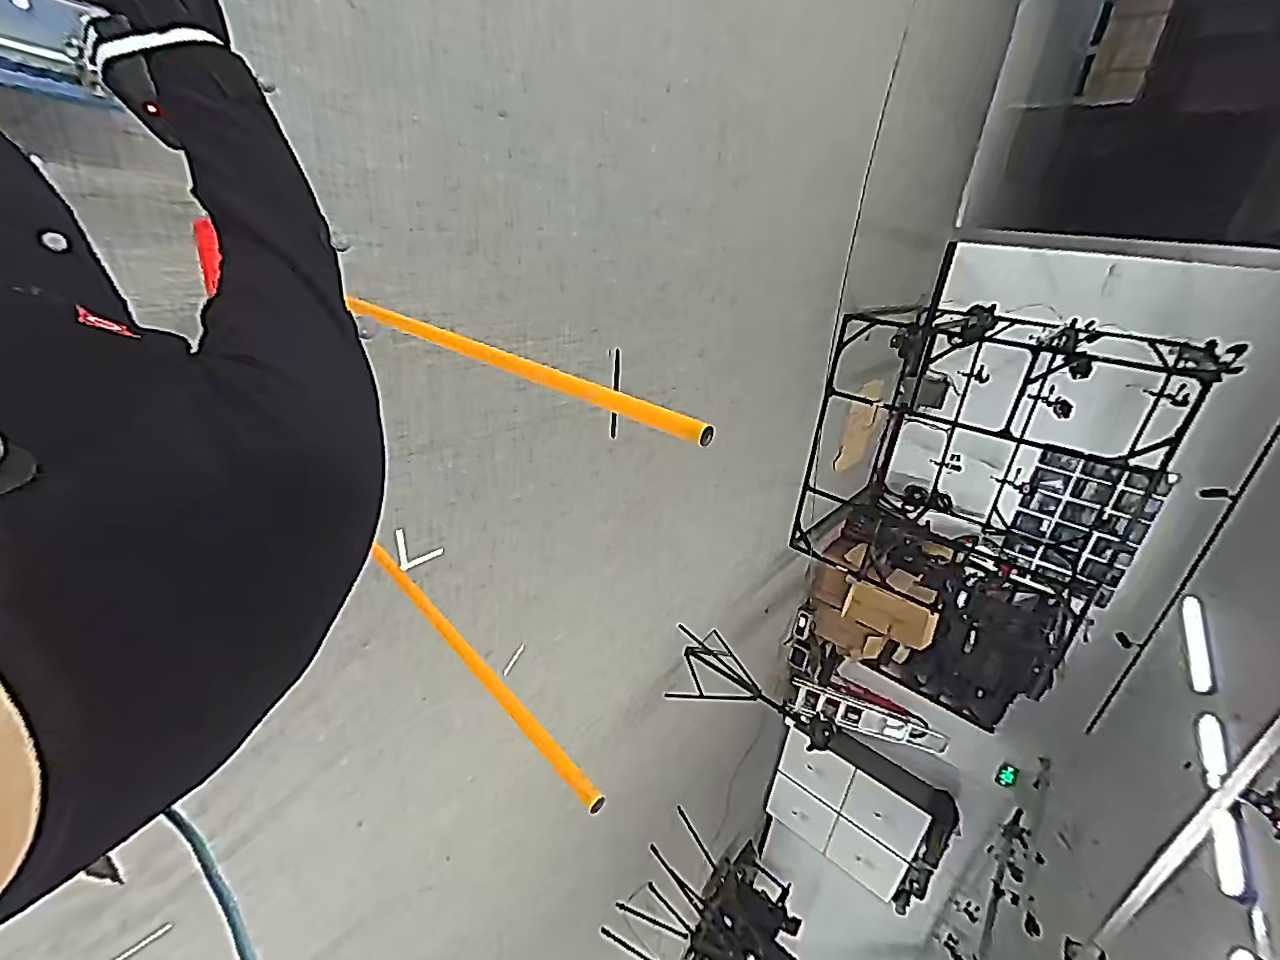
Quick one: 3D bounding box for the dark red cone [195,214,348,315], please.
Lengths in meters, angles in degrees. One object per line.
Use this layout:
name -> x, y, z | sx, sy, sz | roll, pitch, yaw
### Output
dark red cone -> -0.712, -0.414, 1.100 | 0.201, 0.394, 0.202 | -24, 129, -48
